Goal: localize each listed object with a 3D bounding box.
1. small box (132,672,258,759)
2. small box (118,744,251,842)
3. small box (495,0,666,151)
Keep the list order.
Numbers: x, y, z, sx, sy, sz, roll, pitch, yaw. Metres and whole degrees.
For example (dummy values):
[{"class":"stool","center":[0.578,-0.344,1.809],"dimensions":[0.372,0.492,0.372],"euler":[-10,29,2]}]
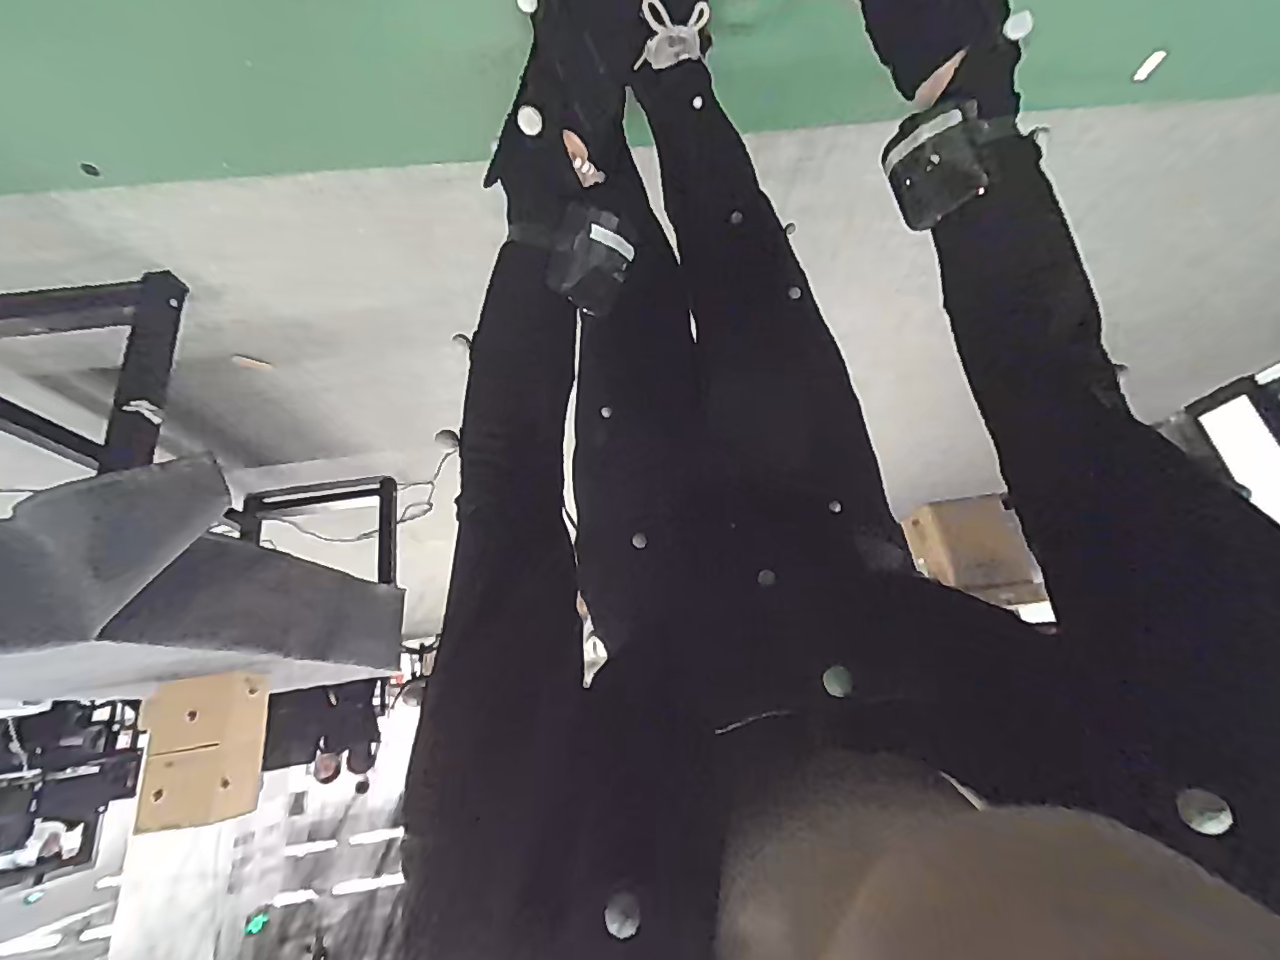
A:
[{"class":"small box","center":[-1.091,0.581,1.343],"dimensions":[0.179,0.176,0.168],"euler":[-7,159,-5]},{"class":"small box","center":[-1.070,0.733,1.286],"dimensions":[0.168,0.176,0.179],"euler":[-7,159,-3]},{"class":"small box","center":[-0.088,-0.623,0.763],"dimensions":[0.179,0.176,0.168],"euler":[26,152,-27]}]
